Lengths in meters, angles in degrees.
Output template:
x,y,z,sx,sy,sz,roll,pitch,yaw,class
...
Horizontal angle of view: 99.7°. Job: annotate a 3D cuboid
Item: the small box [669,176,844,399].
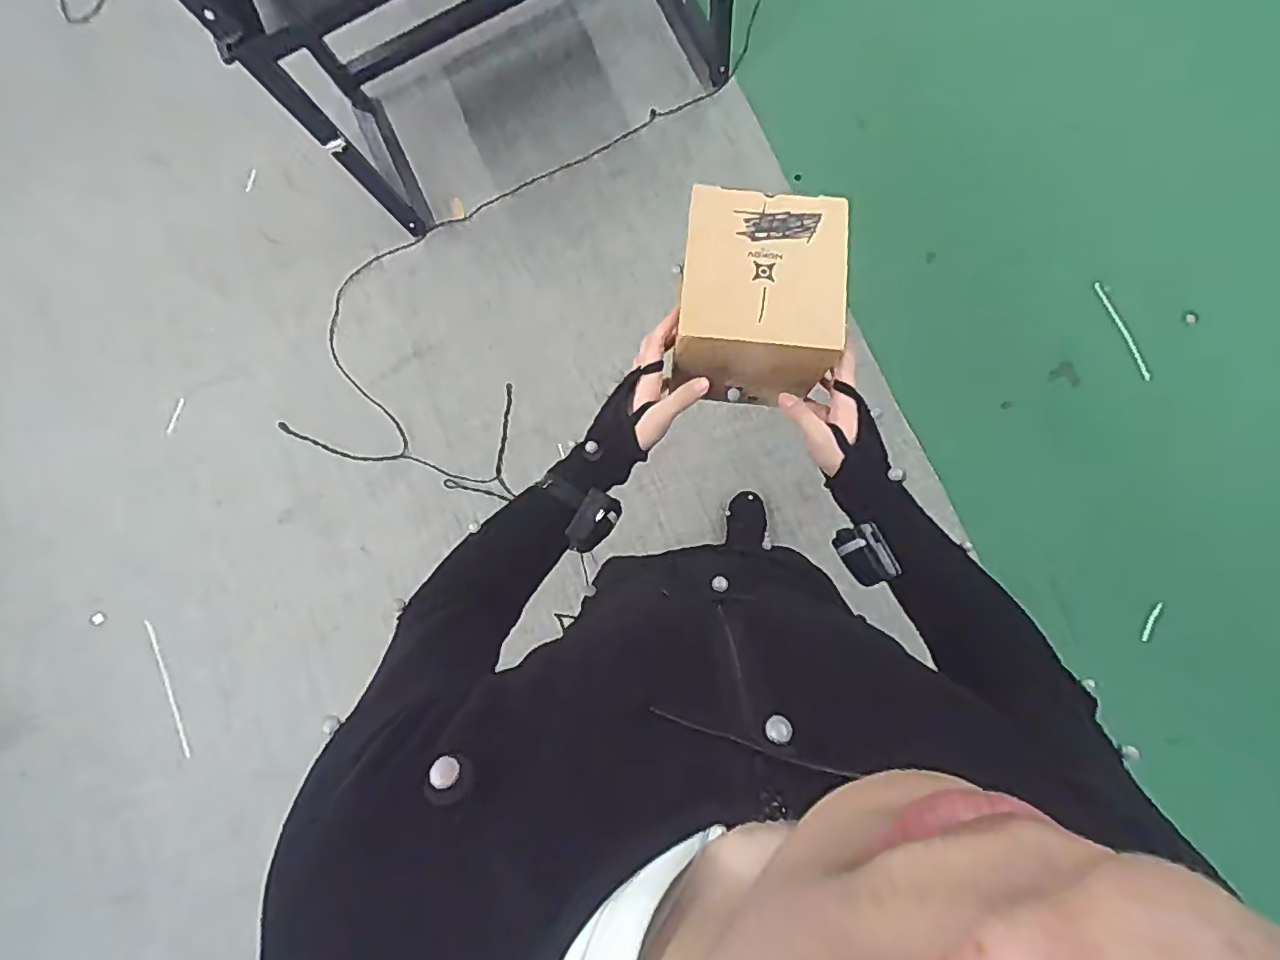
x,y,z,sx,sy,sz,roll,pitch,yaw,class
0.124,-0.212,0.630,0.168,0.176,0.179,5,78,1,small box
